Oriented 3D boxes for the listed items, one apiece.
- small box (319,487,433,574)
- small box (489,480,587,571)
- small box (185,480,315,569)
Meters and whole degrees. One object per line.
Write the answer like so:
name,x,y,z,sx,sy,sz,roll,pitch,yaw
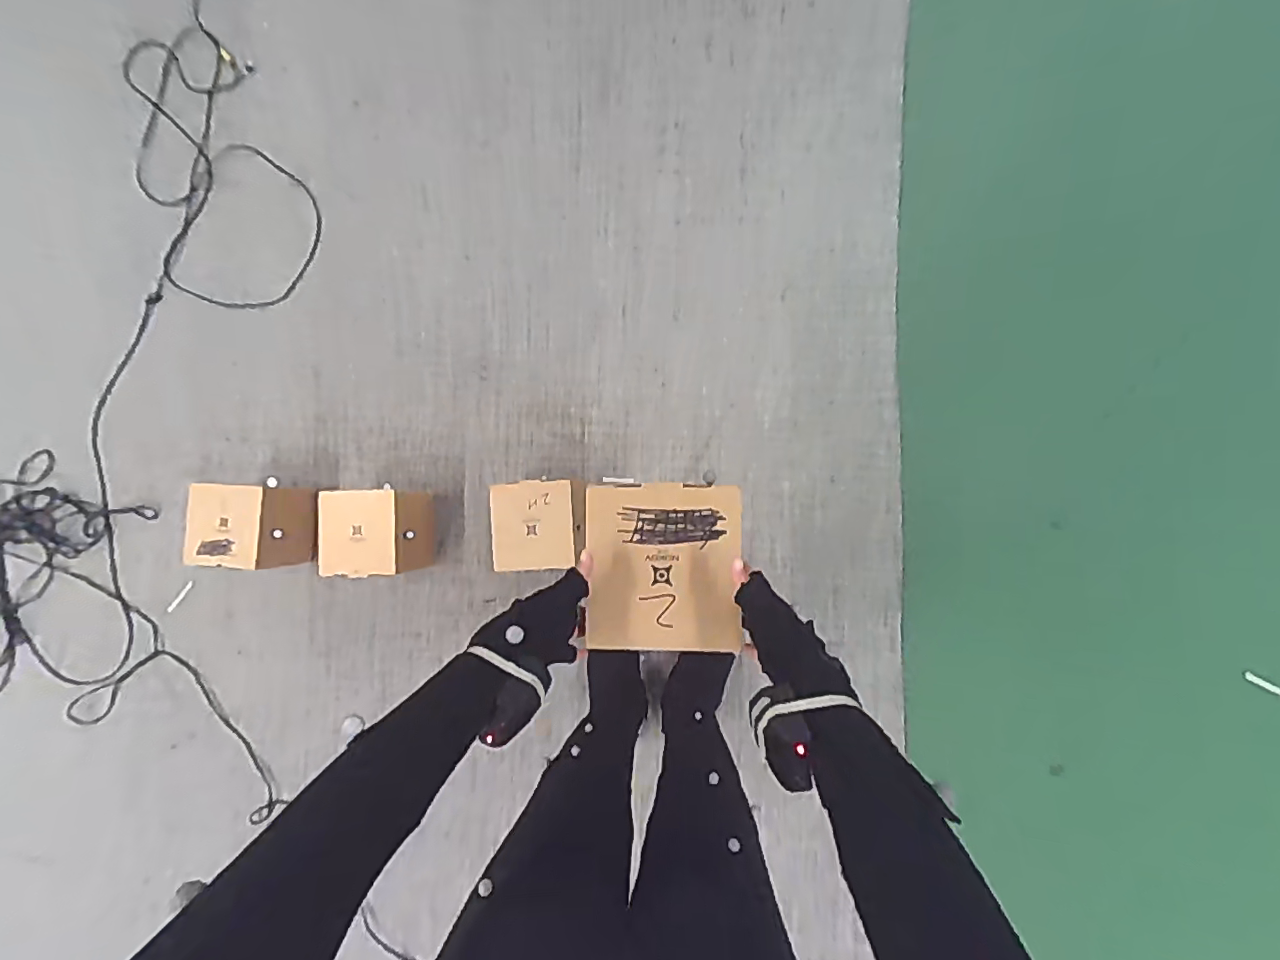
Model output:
small box,-0.568,0.107,1.179,0.168,0.176,0.179,-2,88,5
small box,-0.209,0.092,1.148,0.168,0.176,0.179,-3,87,4
small box,-0.857,0.095,1.203,0.168,0.176,0.179,3,87,5
